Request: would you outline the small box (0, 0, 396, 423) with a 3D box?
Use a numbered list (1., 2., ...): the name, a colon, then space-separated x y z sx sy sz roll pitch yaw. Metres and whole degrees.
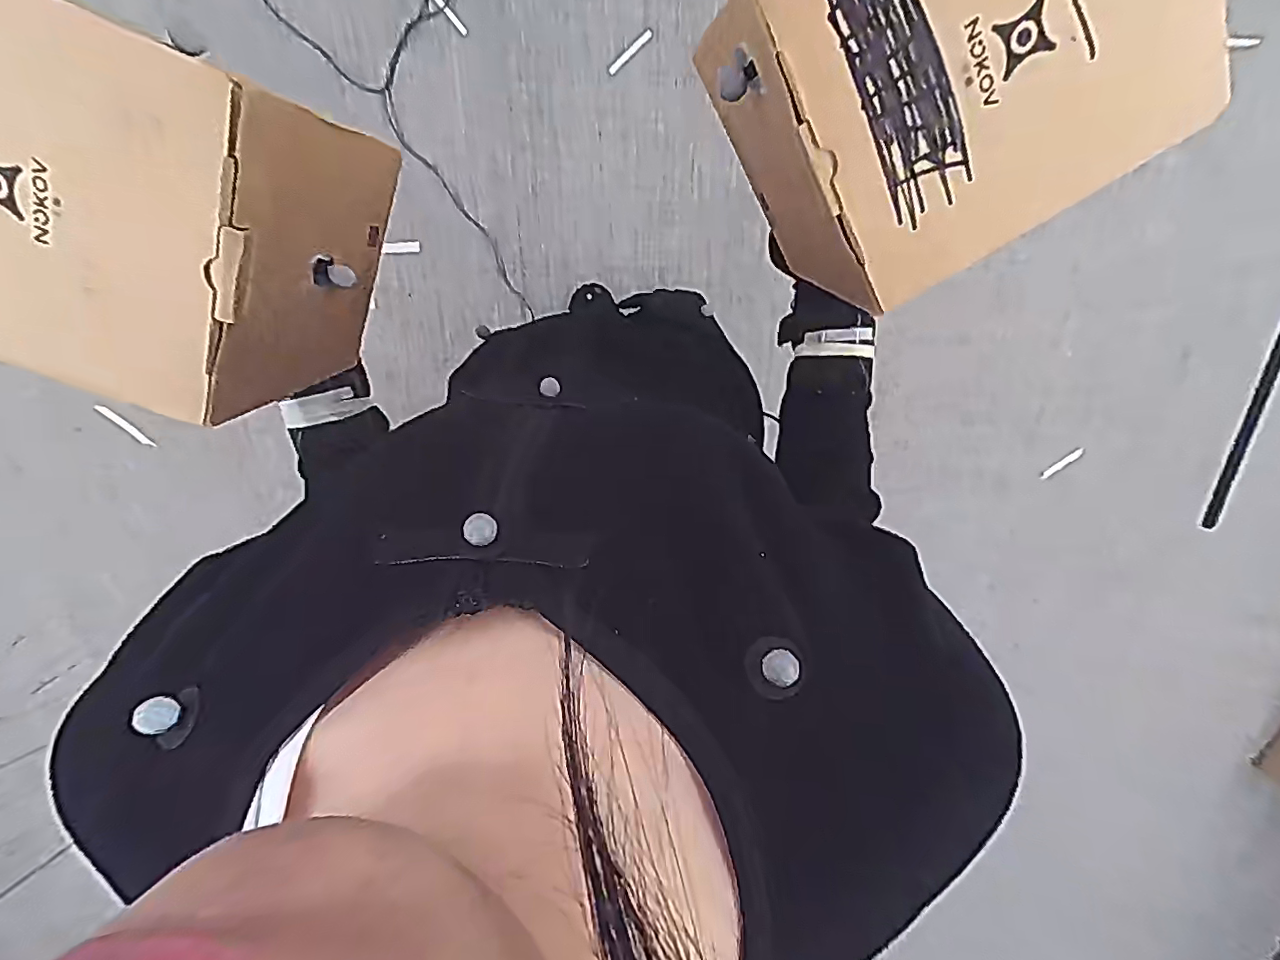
1. small box: -0.268 -0.159 0.311 0.179 0.176 0.168 21 112 -10
